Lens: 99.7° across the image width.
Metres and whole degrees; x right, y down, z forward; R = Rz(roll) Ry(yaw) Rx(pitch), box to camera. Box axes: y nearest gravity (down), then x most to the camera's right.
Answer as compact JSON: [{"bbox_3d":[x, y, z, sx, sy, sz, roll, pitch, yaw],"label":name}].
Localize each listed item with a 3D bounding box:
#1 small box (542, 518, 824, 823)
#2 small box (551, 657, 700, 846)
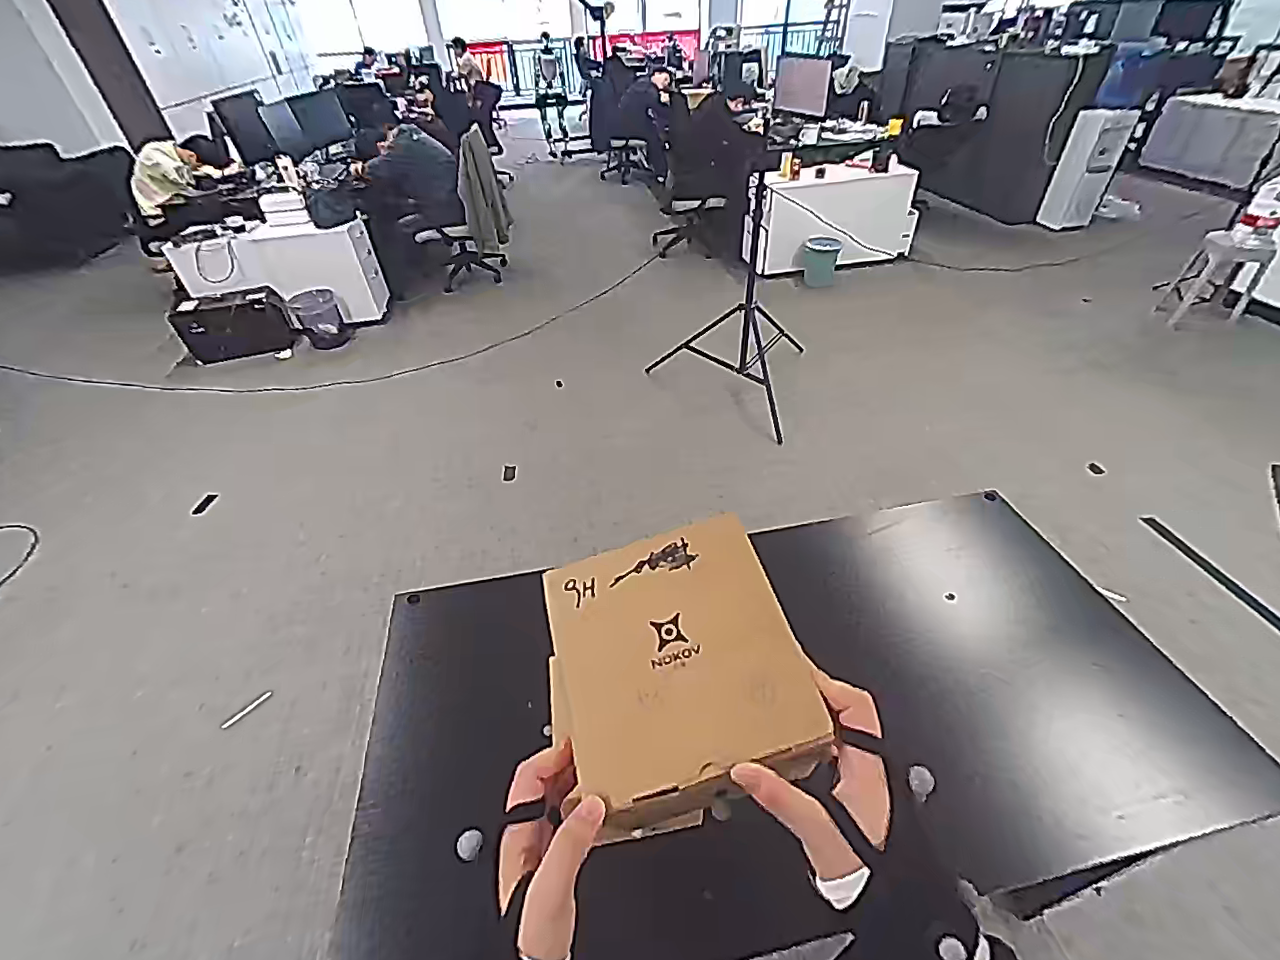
[{"bbox_3d":[0.033,0.164,0.451,0.168,0.176,0.179,-18,55,-2],"label":"small box"},{"bbox_3d":[-0.020,0.335,0.699,0.168,0.176,0.179,-9,41,-5],"label":"small box"}]
